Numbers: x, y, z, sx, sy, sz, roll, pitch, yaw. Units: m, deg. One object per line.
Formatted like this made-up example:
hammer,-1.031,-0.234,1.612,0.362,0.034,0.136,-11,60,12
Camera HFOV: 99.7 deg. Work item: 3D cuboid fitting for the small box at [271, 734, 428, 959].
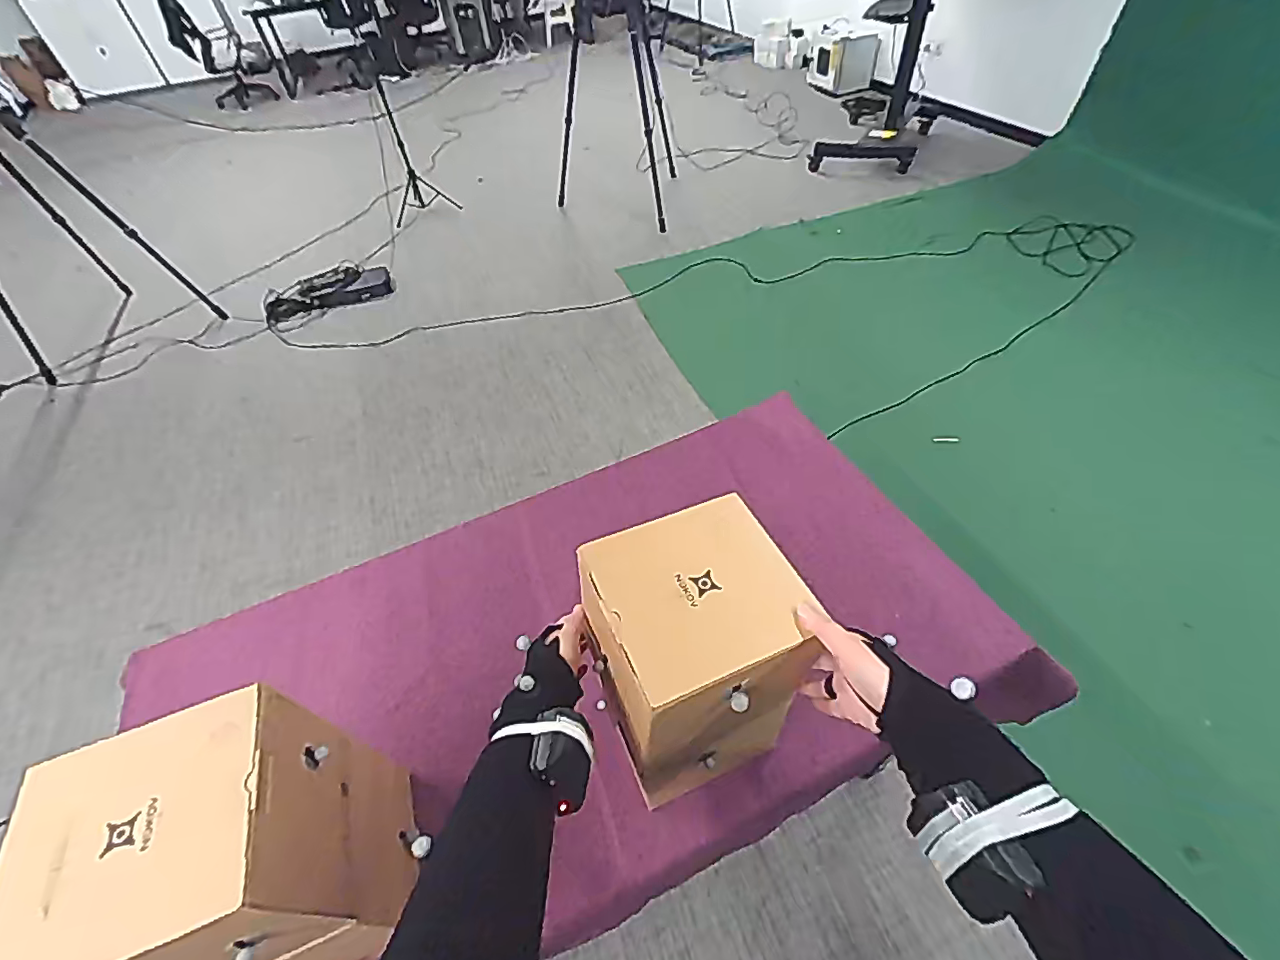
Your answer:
small box,-0.347,0.414,0.581,0.168,0.176,0.179,-21,50,-10

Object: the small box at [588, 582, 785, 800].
small box,0.054,0.262,0.665,0.179,0.176,0.168,-20,51,-12

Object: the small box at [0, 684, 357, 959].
small box,-0.360,0.307,0.457,0.179,0.176,0.168,-19,50,-10
